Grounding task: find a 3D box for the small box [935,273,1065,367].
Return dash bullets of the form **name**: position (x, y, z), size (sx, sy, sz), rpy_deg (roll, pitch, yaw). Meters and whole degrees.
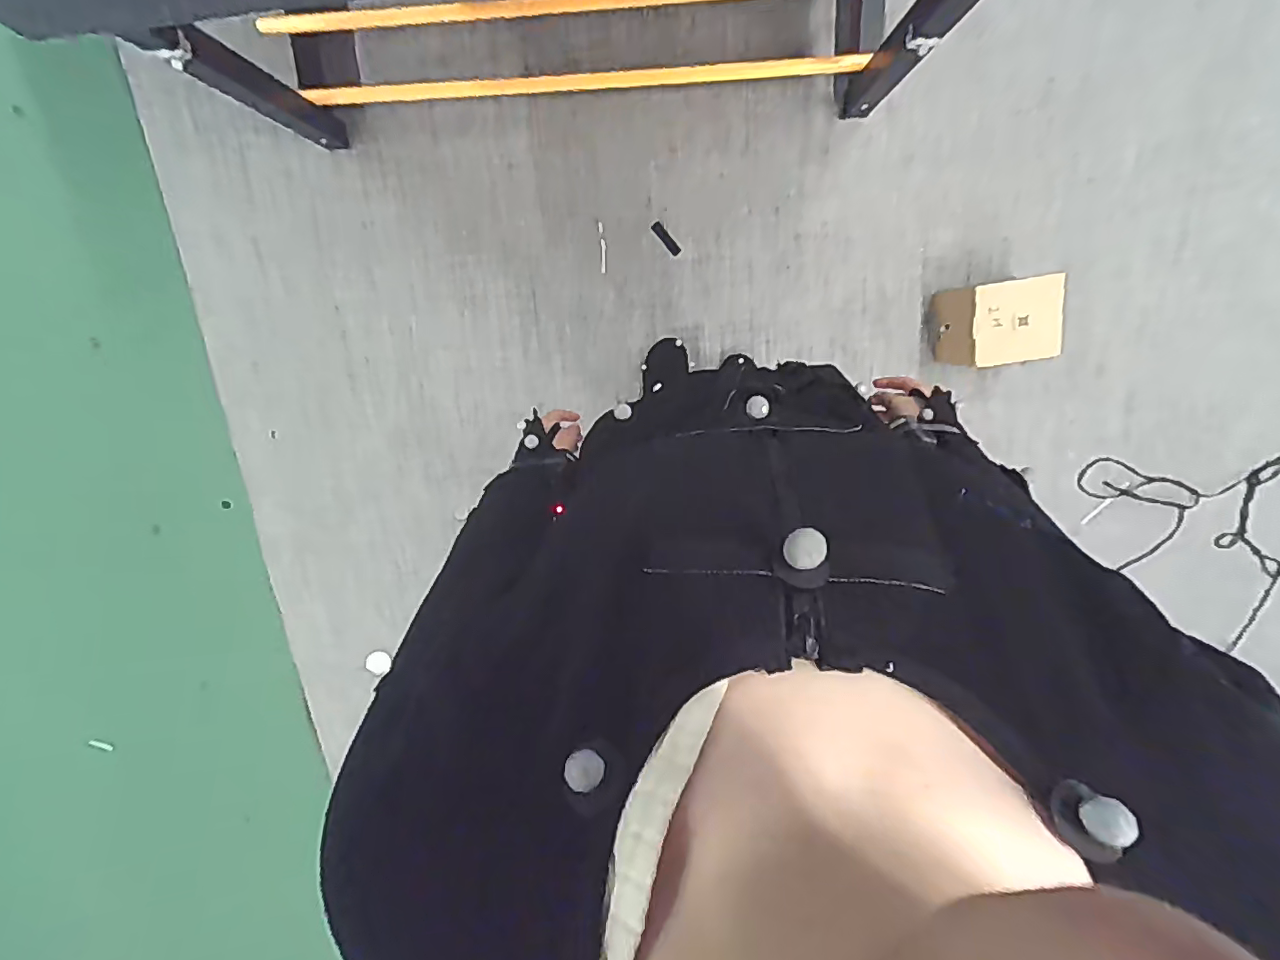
- **small box**: position (0.769, -0.344, 1.170), size (0.179, 0.176, 0.168), rpy_deg (-8, 105, 4)
